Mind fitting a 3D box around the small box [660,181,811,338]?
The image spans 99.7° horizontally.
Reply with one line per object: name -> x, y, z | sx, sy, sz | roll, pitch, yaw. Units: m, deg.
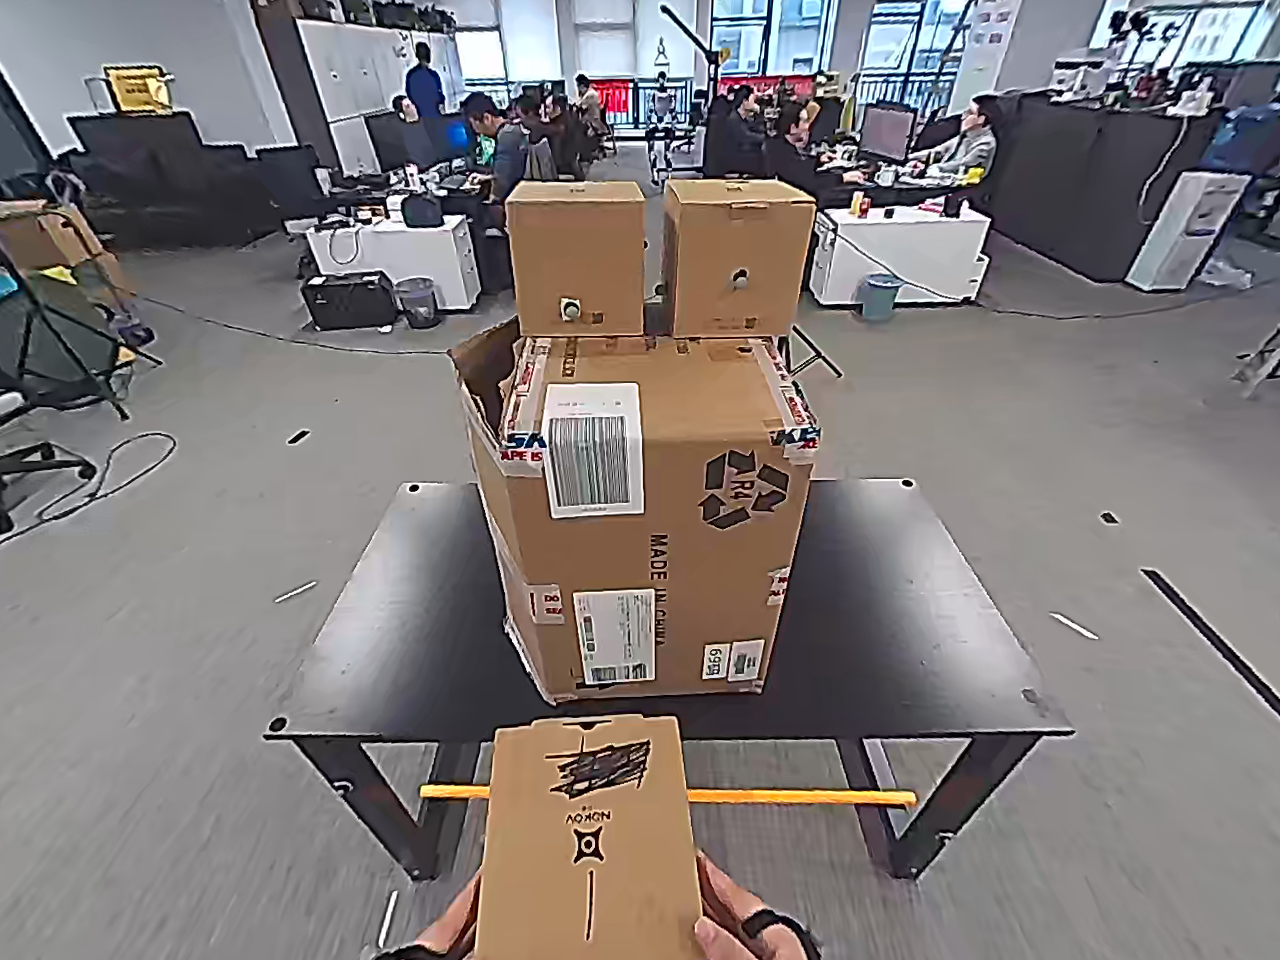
small box -> 0.118, -0.307, 0.752 | 0.168, 0.176, 0.179 | -1, 38, -4

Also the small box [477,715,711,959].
small box -> -0.040, 0.339, 0.487 | 0.168, 0.176, 0.179 | -3, 43, -5

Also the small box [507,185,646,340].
small box -> -0.082, -0.303, 0.749 | 0.168, 0.176, 0.179 | -4, 36, -4
